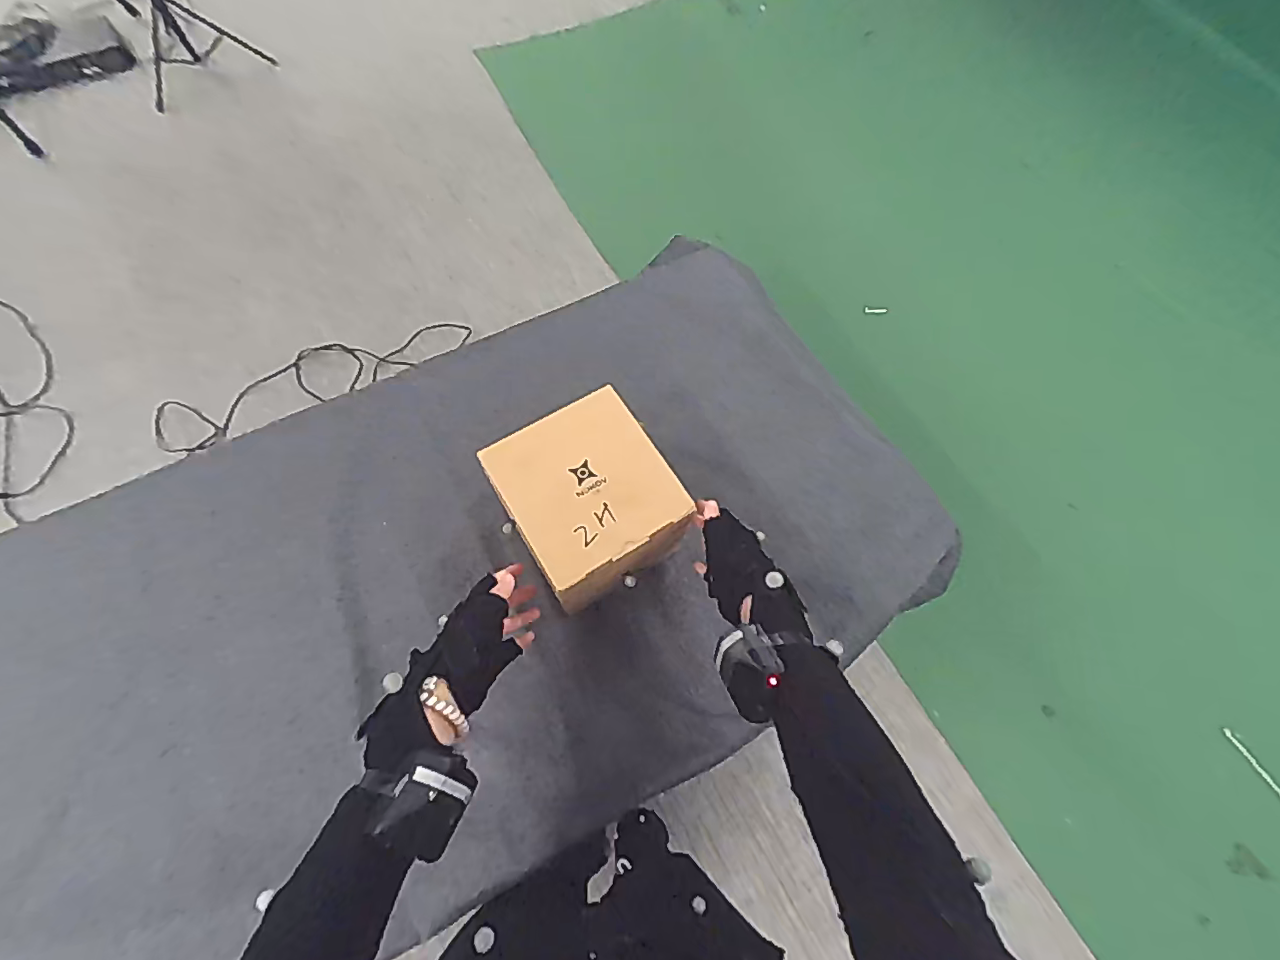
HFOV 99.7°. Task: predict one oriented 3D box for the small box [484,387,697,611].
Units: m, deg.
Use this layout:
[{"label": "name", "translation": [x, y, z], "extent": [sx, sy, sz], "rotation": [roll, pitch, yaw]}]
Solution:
[{"label": "small box", "translation": [-0.058, 0.030, 0.634], "extent": [0.168, 0.176, 0.179], "rotation": [-30, 72, -14]}]
